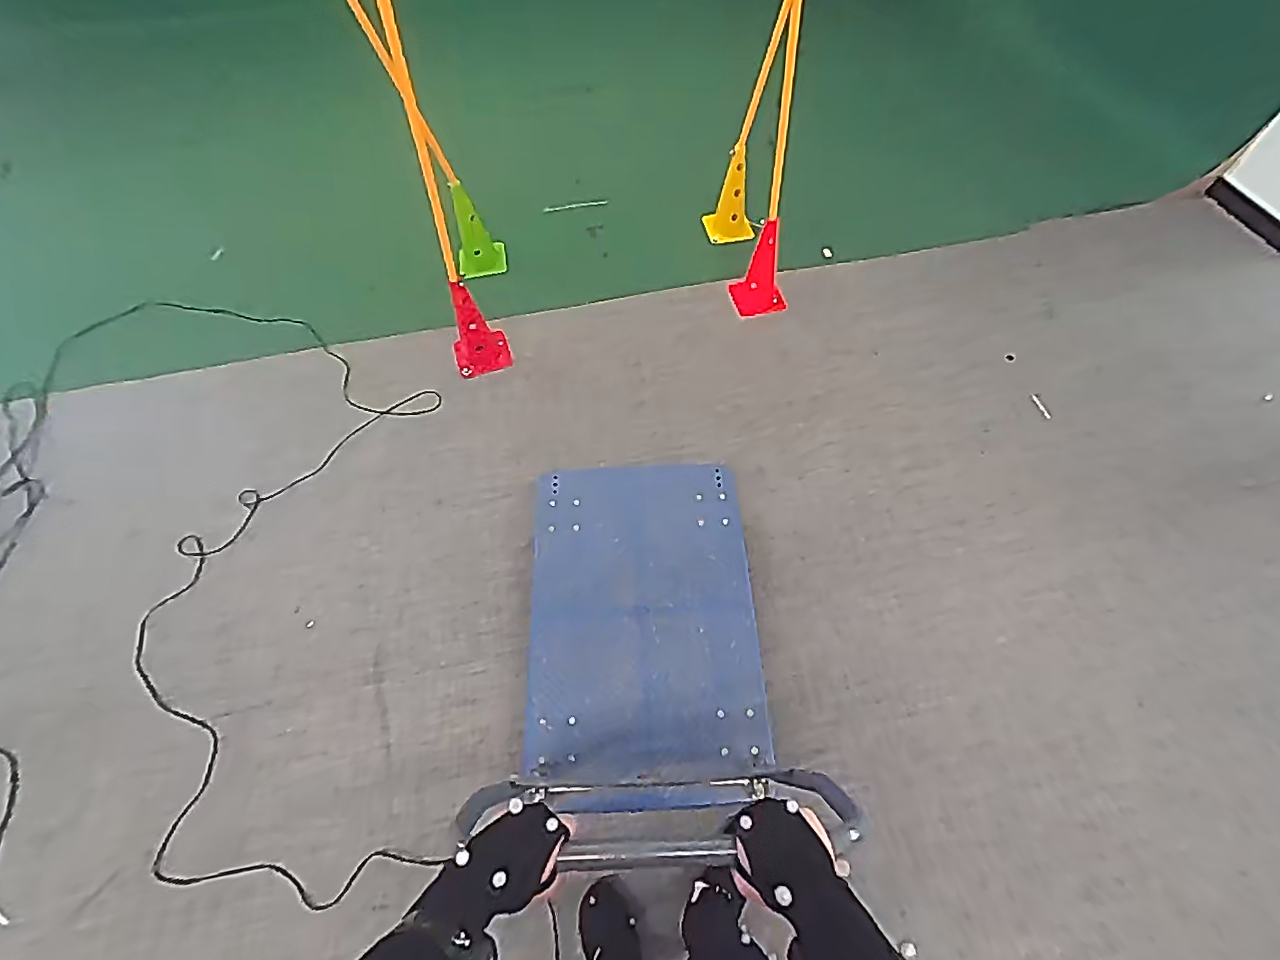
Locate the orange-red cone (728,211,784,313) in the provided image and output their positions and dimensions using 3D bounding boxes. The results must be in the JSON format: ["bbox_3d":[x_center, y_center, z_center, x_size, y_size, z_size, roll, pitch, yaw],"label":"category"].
[{"bbox_3d":[0.465,-0.841,2.044,0.198,0.360,0.199,-10,59,-5],"label":"orange-red cone"}]

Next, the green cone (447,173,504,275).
[{"bbox_3d":[-0.697,-1.051,2.186,0.200,0.368,0.202,-11,60,-4],"label":"green cone"}]
